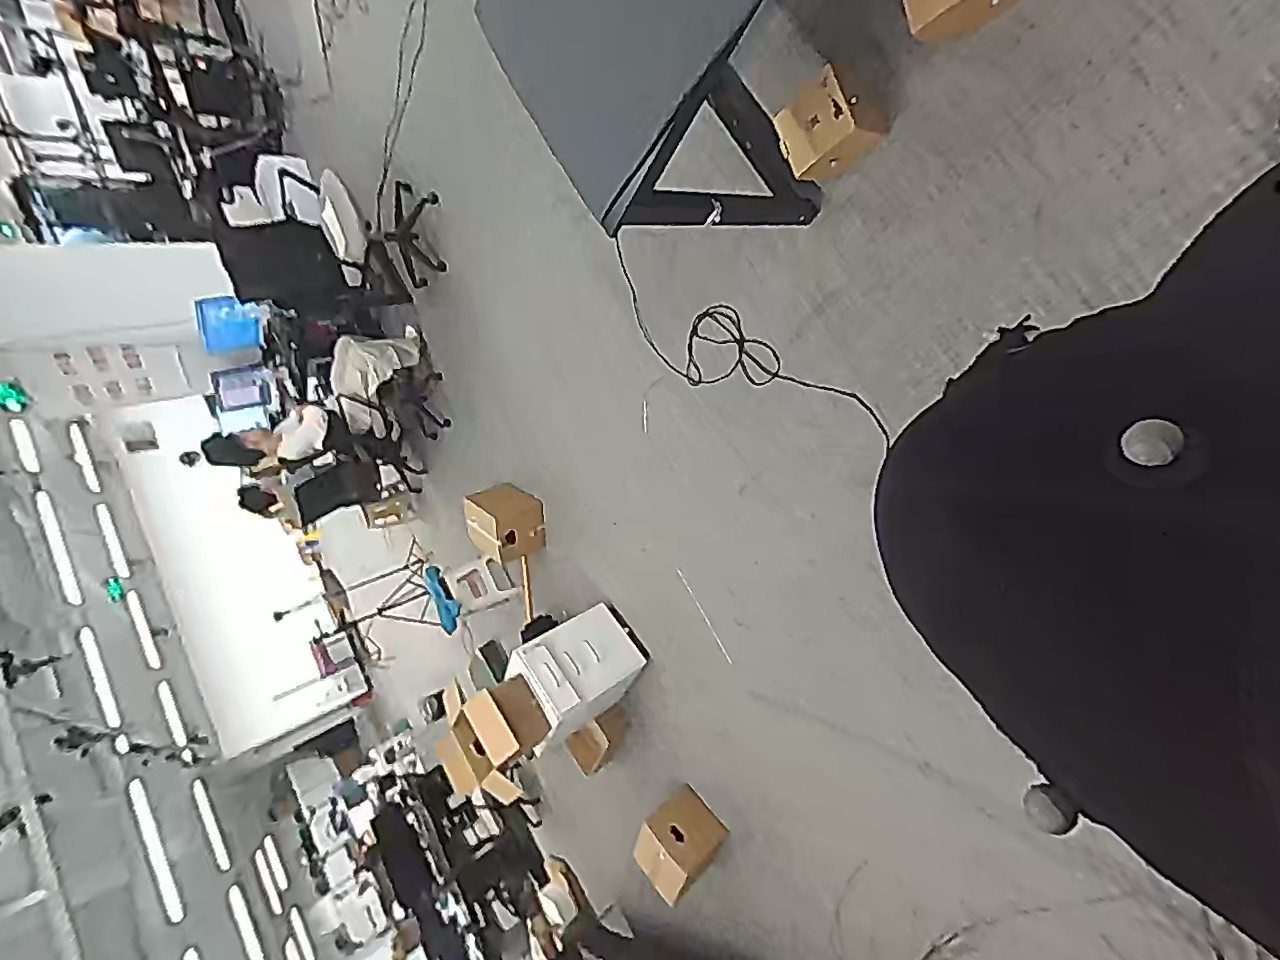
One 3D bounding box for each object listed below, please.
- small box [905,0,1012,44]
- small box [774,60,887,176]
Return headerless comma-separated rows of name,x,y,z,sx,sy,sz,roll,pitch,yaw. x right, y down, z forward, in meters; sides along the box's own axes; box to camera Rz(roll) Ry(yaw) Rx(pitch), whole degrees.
small box,0.644,-1.019,1.073,0.179,0.176,0.168,-9,99,53
small box,0.474,-0.885,1.344,0.179,0.176,0.168,-23,89,53
